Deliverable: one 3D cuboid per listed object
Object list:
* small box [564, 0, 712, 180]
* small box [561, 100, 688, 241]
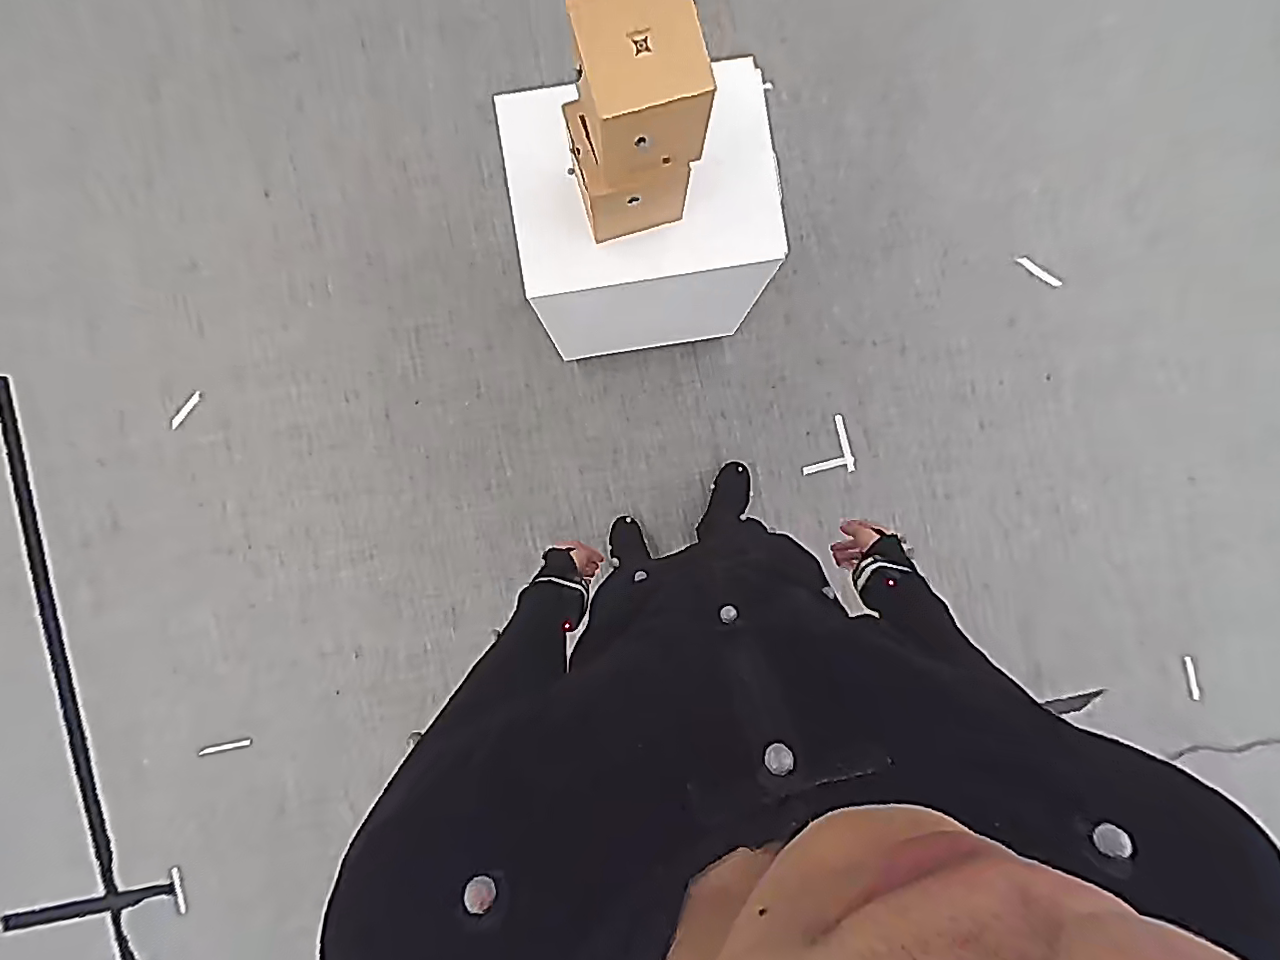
[{"bbox_3d":[-0.002,-0.577,0.798,0.168,0.176,0.179,-16,89,-1],"label":"small box"},{"bbox_3d":[-0.025,-0.554,0.960,0.179,0.176,0.168,-17,90,-1],"label":"small box"}]
